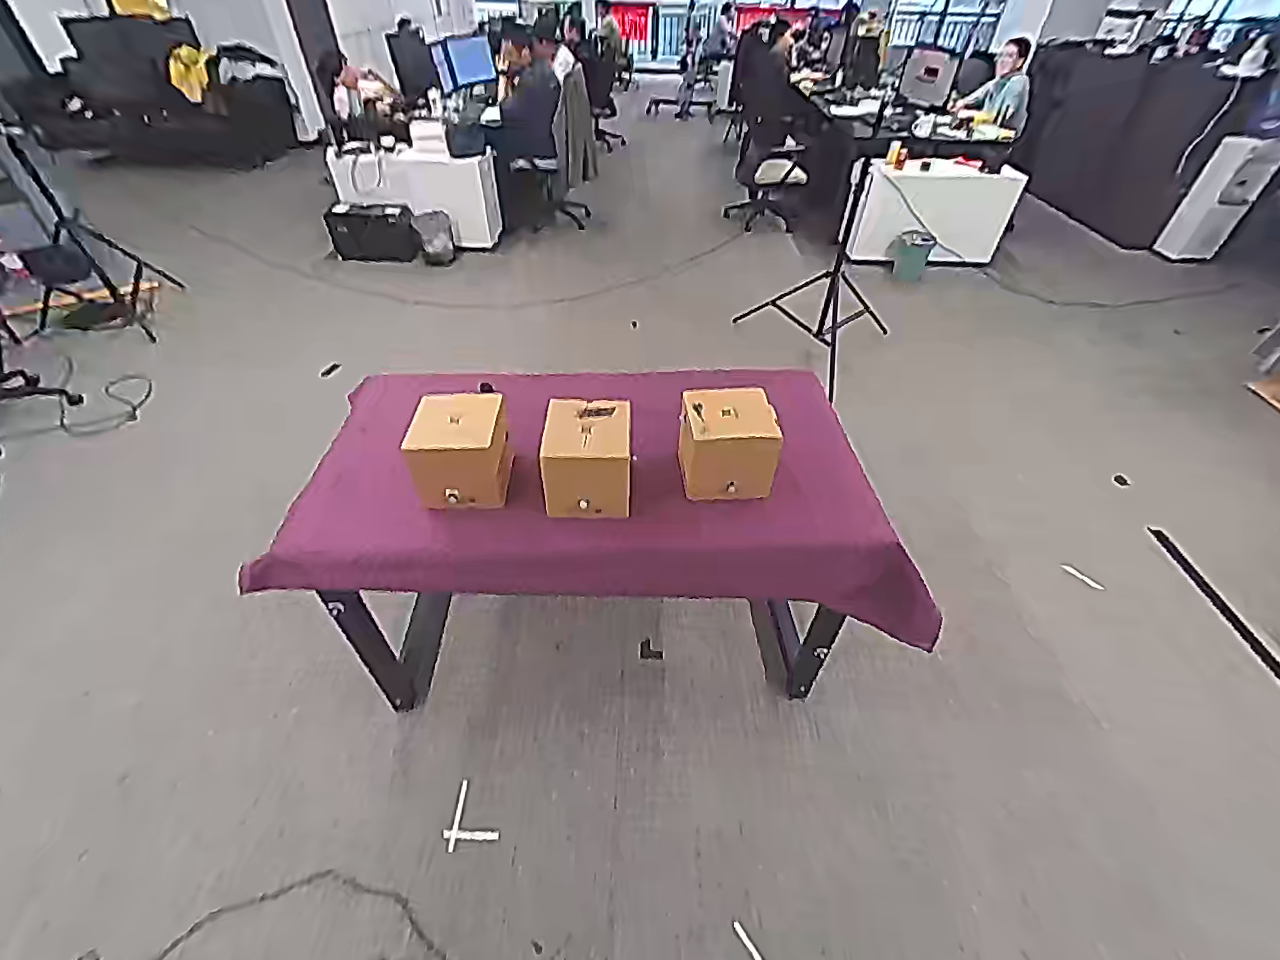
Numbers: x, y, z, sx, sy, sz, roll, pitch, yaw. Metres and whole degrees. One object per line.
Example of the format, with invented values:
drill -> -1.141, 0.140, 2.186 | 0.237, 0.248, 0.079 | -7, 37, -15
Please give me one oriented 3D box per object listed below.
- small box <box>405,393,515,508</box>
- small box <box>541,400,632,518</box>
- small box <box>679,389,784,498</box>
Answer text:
small box -> -0.358, -0.061, 1.113 | 0.168, 0.176, 0.179 | -2, 44, -2
small box -> -0.101, -0.044, 1.100 | 0.168, 0.176, 0.179 | 1, 43, 0
small box -> 0.183, -0.076, 1.143 | 0.179, 0.176, 0.168 | -2, 43, -4
